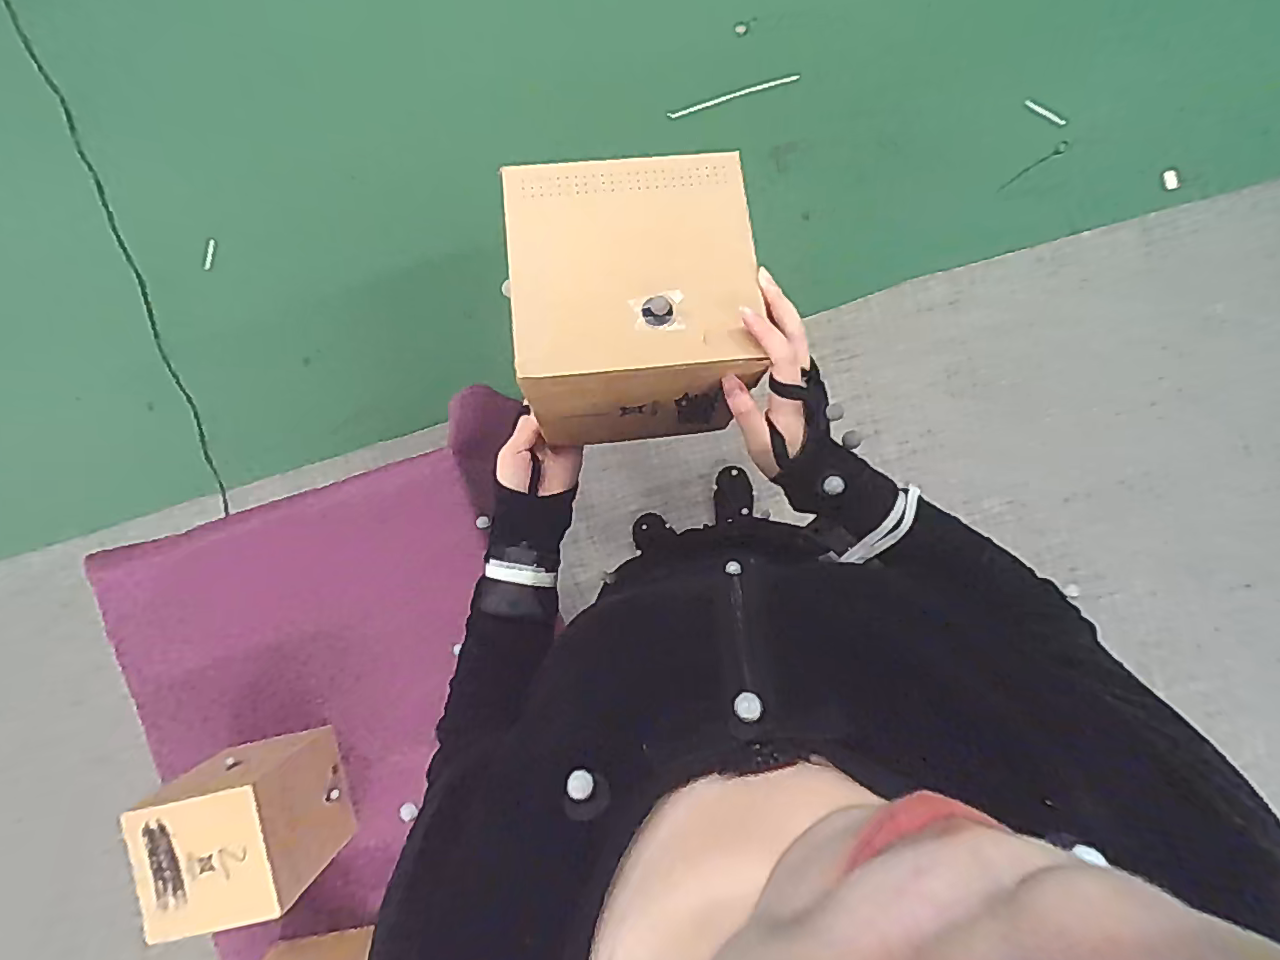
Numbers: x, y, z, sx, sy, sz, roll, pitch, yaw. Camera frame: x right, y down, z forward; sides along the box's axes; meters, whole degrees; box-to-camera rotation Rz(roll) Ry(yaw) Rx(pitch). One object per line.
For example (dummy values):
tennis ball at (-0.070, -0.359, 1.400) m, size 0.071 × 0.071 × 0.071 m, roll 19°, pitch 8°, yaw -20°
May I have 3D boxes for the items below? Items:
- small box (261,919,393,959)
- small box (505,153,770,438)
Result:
small box at (-0.458, 0.753, 0.737) m, size 0.179 × 0.176 × 0.168 m, roll -12°, pitch 89°, yaw 2°
small box at (-0.008, -0.144, 0.455) m, size 0.179 × 0.168 × 0.176 m, roll -5°, pitch 78°, yaw -3°
